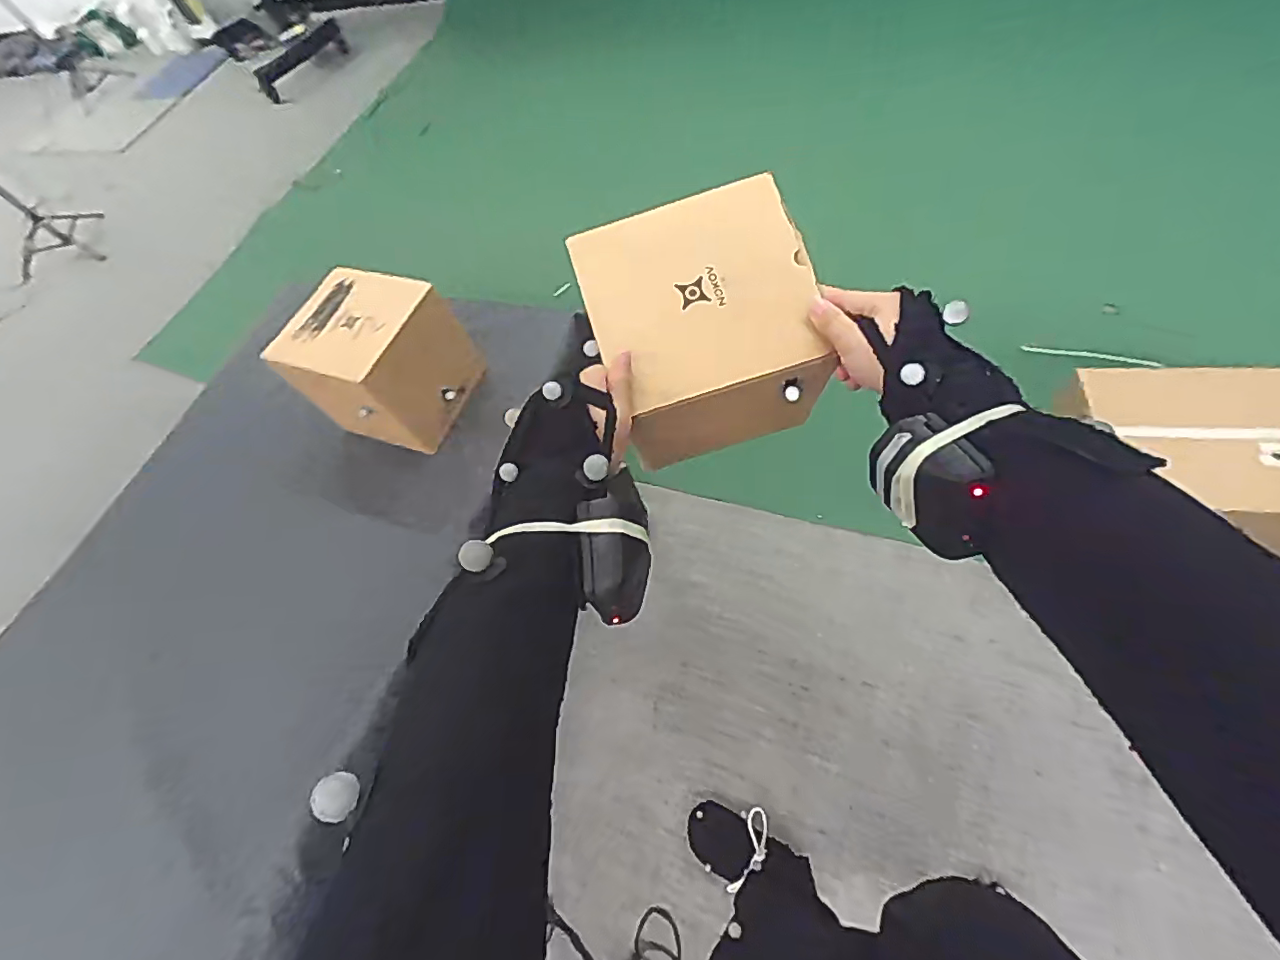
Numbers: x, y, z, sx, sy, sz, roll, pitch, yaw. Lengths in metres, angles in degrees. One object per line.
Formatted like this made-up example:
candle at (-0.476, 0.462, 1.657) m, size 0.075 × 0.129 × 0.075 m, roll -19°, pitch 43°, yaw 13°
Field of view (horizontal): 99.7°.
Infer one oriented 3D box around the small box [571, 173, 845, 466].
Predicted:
small box at (0.054, -0.126, 0.488) m, size 0.179 × 0.176 × 0.168 m, roll -16°, pitch 75°, yaw 1°
